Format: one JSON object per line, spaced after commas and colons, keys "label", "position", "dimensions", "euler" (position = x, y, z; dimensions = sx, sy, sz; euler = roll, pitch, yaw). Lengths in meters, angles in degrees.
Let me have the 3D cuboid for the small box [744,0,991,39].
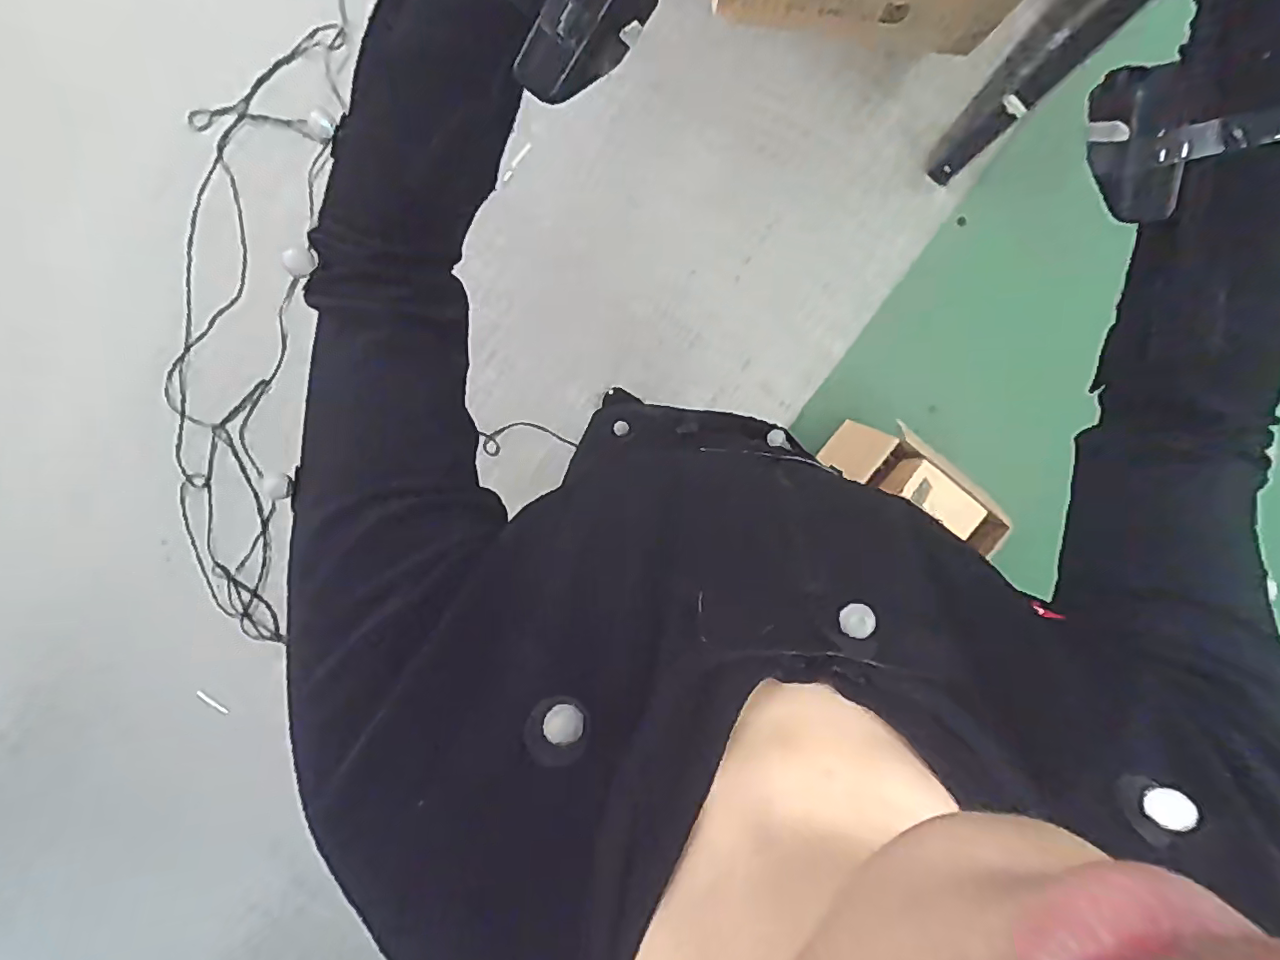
{"label": "small box", "position": [0.130, -0.350, 0.243], "dimensions": [0.168, 0.176, 0.179], "euler": [7, 96, -1]}
